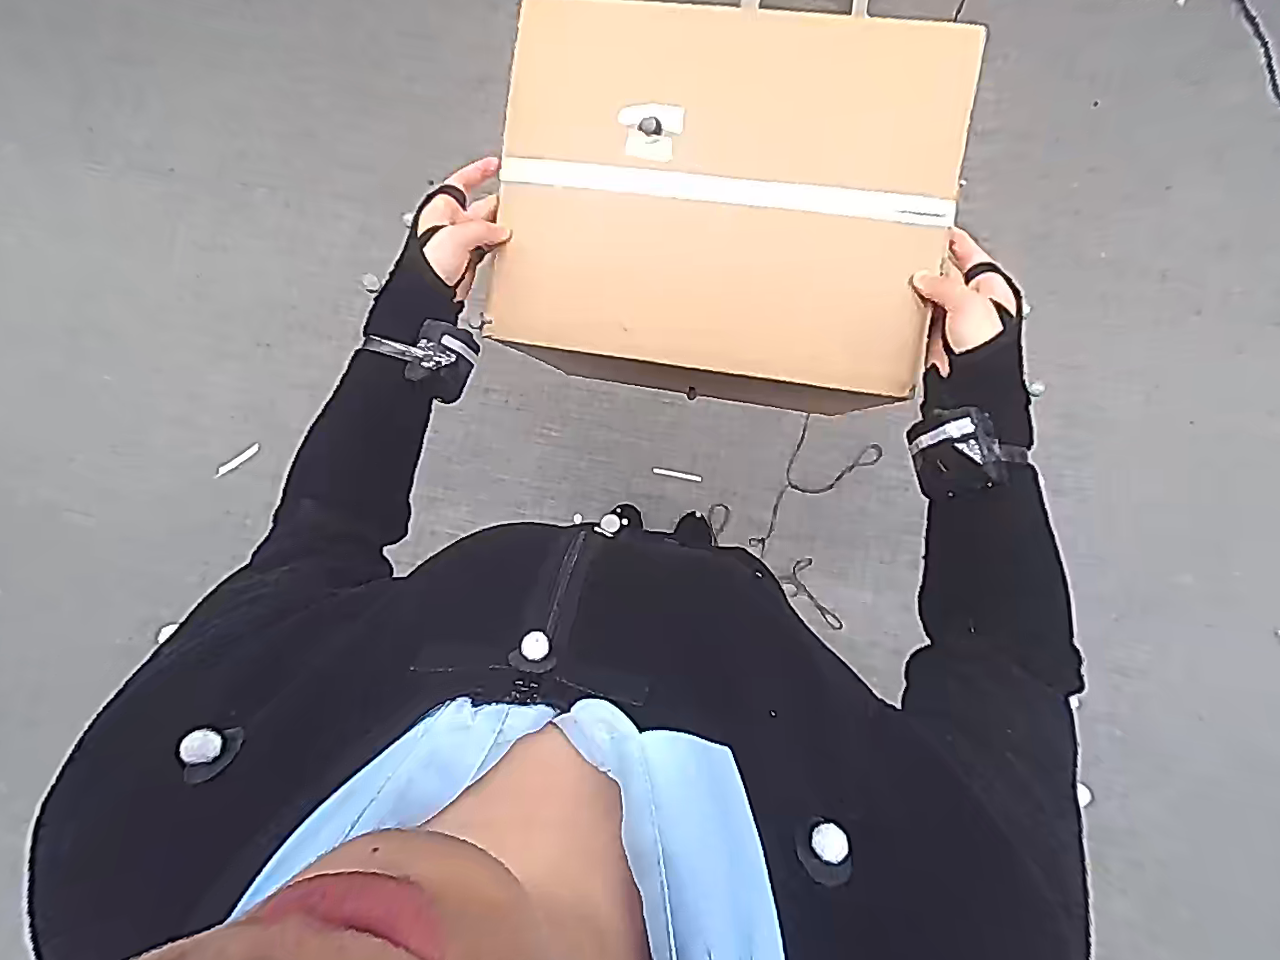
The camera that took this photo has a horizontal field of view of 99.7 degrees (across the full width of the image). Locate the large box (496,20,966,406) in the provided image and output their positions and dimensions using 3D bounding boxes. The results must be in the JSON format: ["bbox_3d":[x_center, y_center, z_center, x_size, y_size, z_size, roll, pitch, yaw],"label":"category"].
[{"bbox_3d":[0.091,-0.270,0.650,0.408,0.320,0.320,9,94,7],"label":"large box"}]
